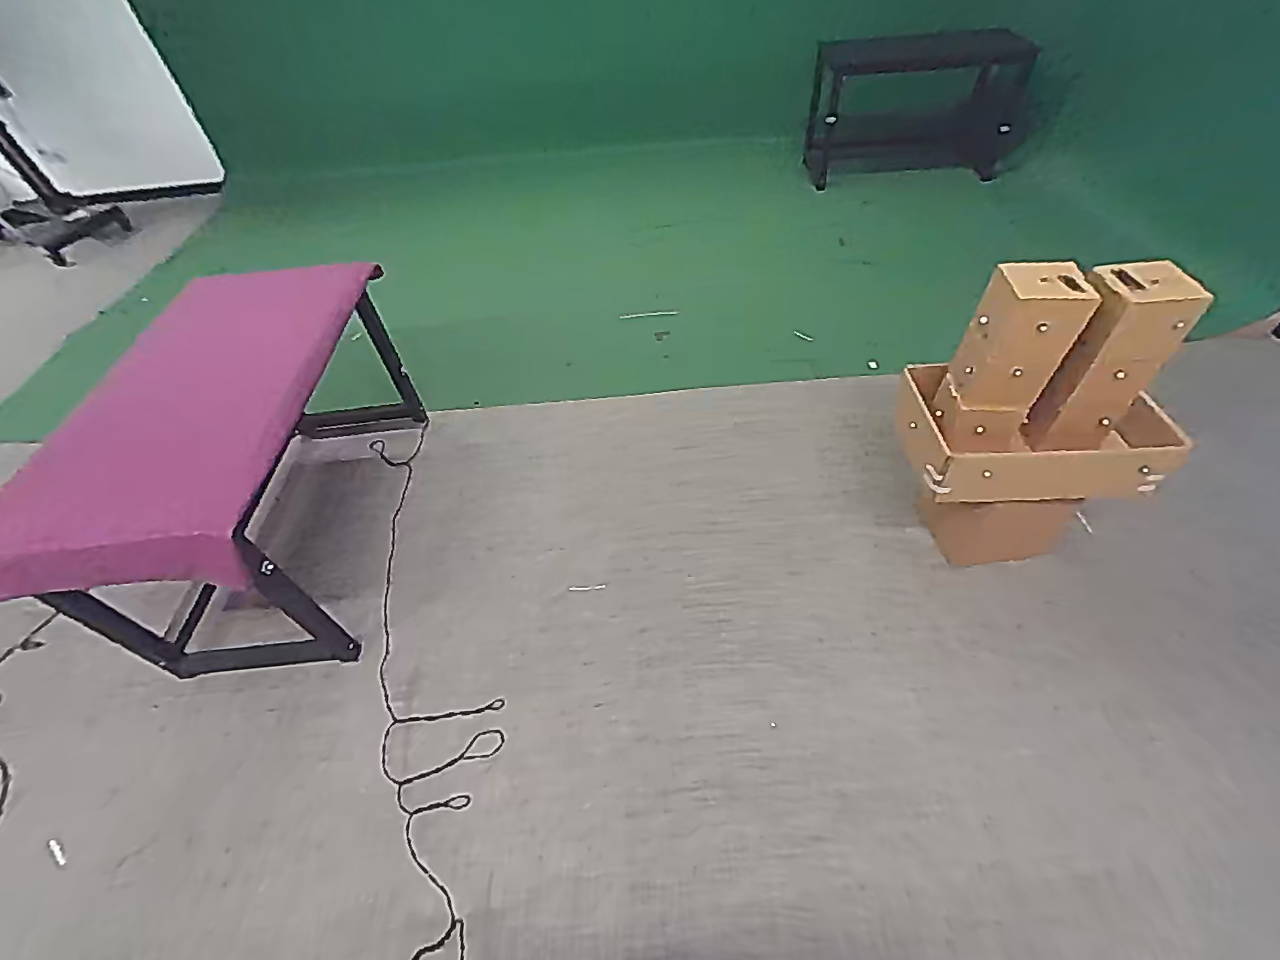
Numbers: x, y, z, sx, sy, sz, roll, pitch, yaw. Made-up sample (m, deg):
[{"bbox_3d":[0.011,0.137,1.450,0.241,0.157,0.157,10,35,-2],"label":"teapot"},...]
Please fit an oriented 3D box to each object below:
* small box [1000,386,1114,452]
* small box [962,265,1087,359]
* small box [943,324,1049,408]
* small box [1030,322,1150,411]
[{"bbox_3d":[1.207,-0.198,1.581,0.179,0.176,0.168,-3,48,3],"label":"small box"},{"bbox_3d":[0.952,-0.419,1.358,0.179,0.176,0.168,2,50,6],"label":"small box"},{"bbox_3d":[0.959,-0.312,1.482,0.179,0.176,0.168,3,50,5],"label":"small box"},{"bbox_3d":[1.191,-0.303,1.459,0.179,0.176,0.168,-5,49,4],"label":"small box"}]
